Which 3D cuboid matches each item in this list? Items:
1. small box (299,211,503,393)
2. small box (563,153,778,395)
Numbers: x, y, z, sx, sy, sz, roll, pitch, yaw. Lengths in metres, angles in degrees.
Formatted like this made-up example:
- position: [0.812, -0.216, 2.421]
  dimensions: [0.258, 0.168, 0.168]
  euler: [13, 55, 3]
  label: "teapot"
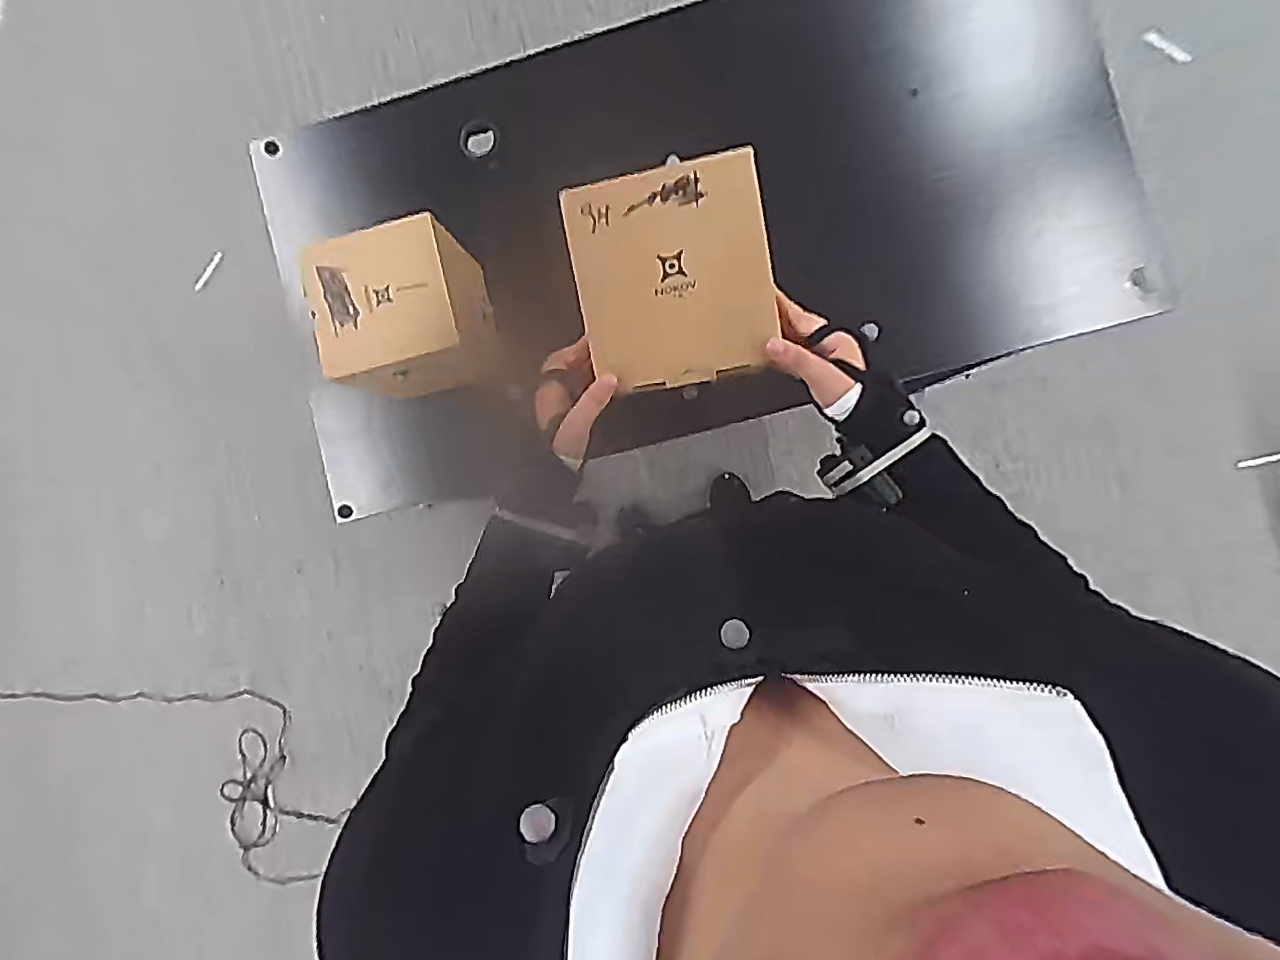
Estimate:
- position: [-0.308, -0.224, 0.728]
  dimensions: [0.179, 0.176, 0.168]
  euler: [-13, 89, 3]
  label: "small box"
- position: [0.034, -0.188, 0.544]
  dimensions: [0.168, 0.176, 0.179]
  euler: [-10, 99, 5]
  label: "small box"
